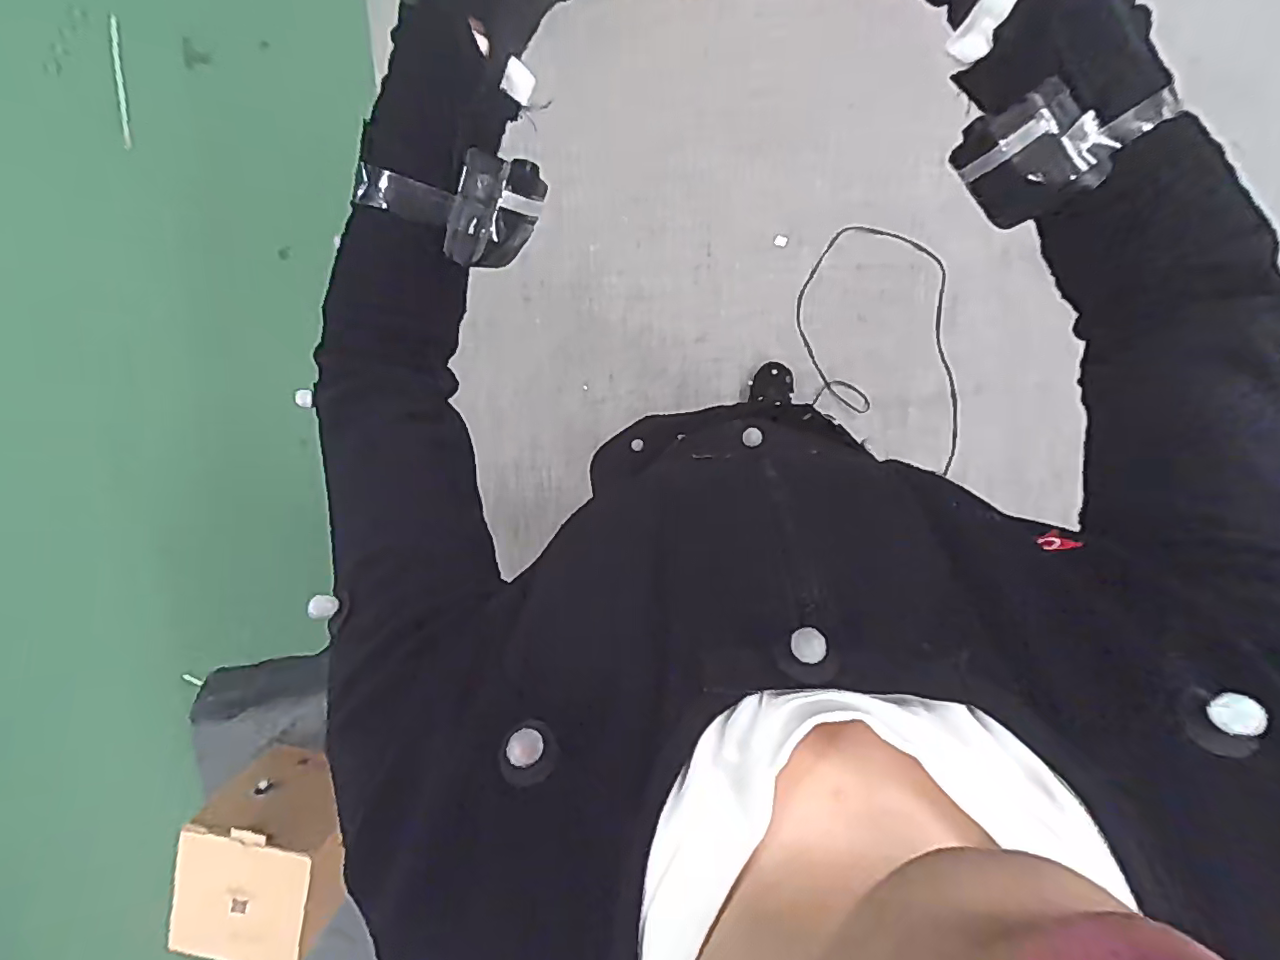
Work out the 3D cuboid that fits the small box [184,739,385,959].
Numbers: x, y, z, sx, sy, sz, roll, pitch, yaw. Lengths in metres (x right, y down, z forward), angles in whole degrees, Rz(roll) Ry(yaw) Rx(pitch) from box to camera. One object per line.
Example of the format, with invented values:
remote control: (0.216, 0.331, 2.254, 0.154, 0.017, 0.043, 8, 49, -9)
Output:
small box: (-0.477, 0.495, 0.748, 0.168, 0.176, 0.179, 11, 100, 2)
